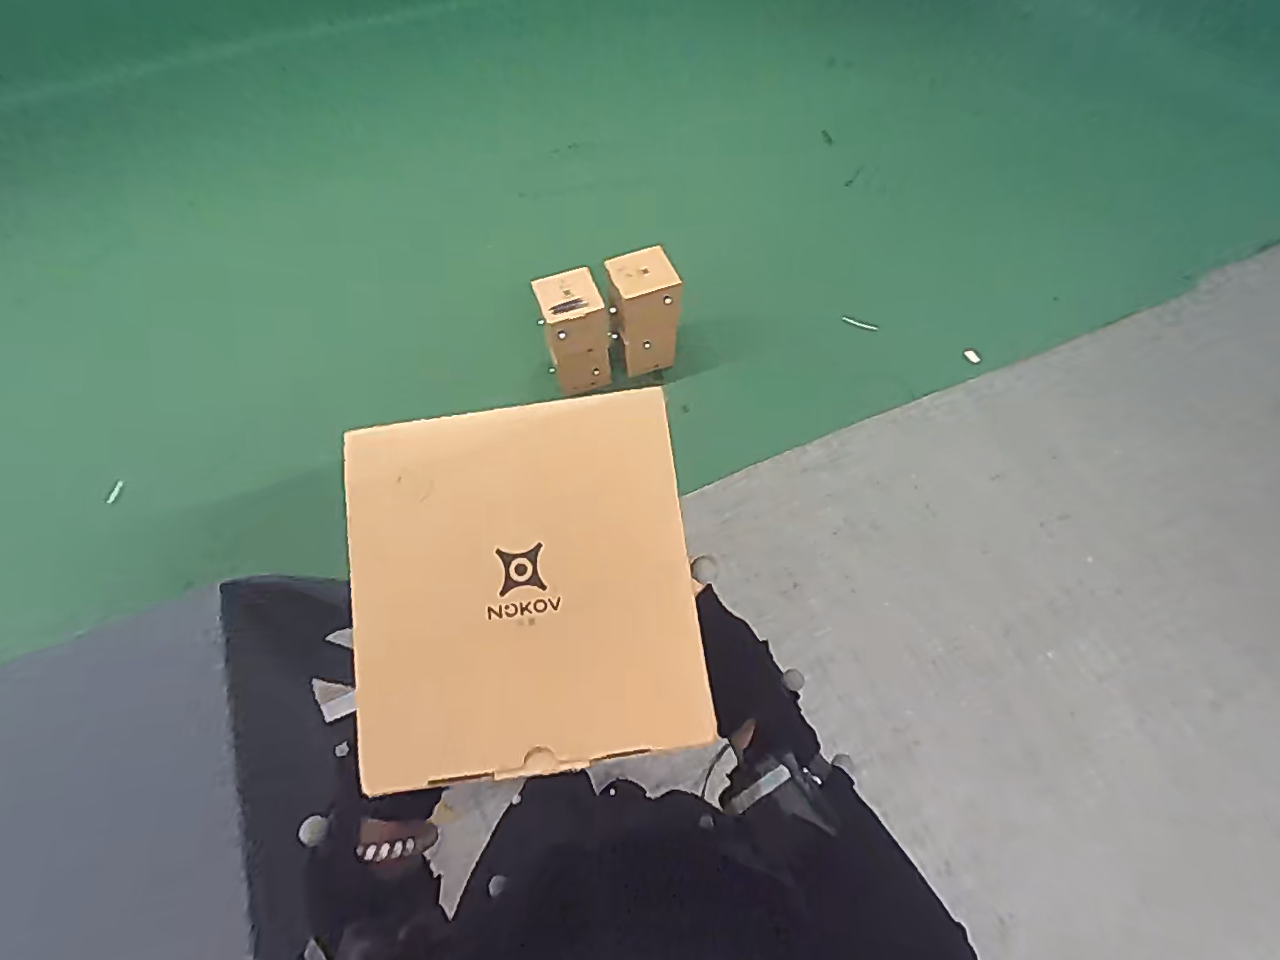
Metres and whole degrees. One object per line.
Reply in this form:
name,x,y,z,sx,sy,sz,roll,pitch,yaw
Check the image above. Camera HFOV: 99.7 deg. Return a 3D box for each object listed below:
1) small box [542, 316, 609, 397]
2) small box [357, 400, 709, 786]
small box,-0.201,-0.384,1.725,0.168,0.176,0.179,-17,64,-7
small box,-0.057,0.065,0.351,0.168,0.176,0.179,-8,80,0
